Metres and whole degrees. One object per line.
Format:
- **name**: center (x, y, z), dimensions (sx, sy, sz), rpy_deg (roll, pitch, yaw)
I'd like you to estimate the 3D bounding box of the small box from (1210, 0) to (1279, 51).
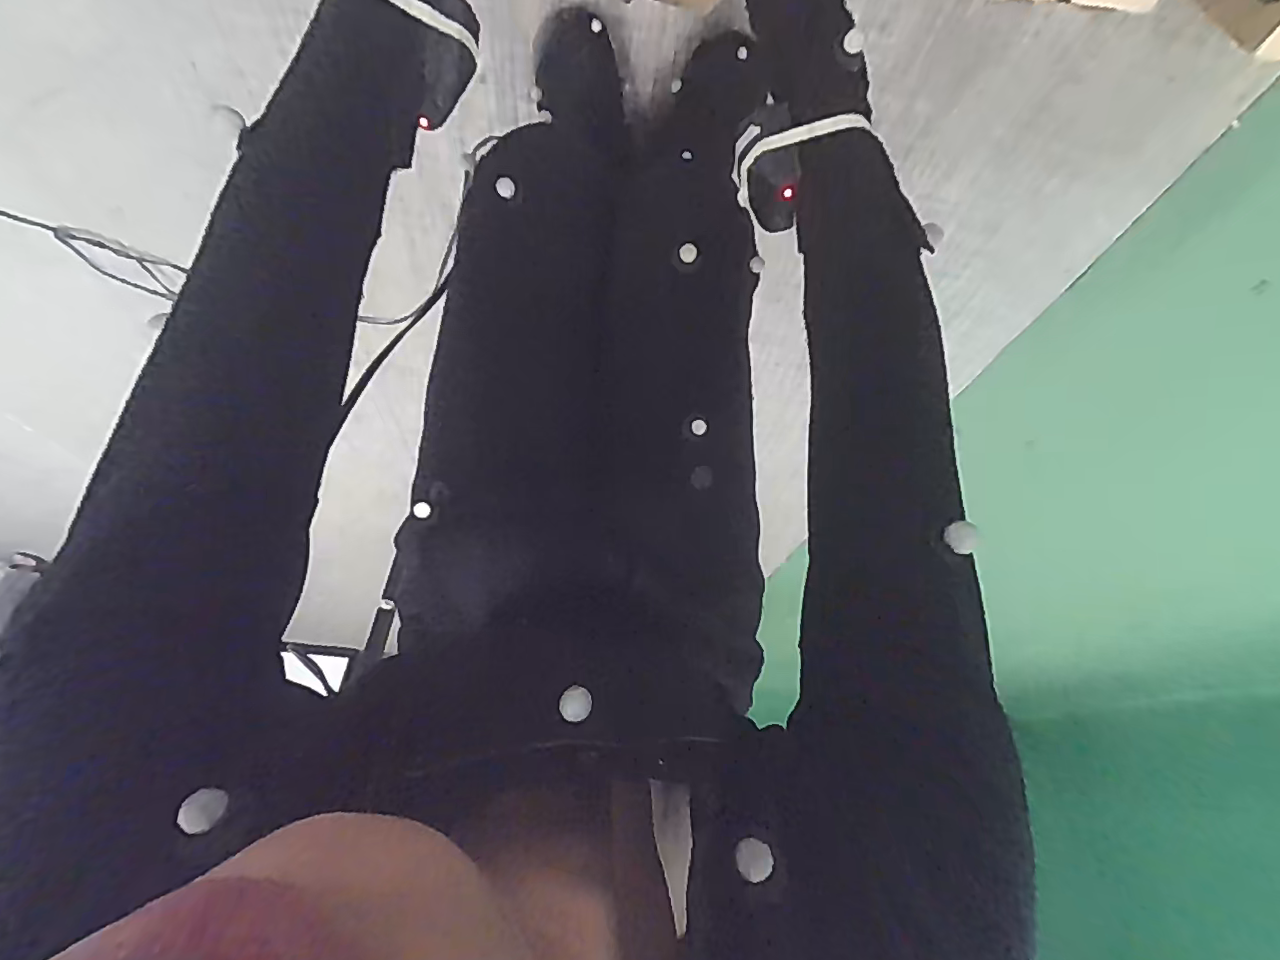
- **small box**: center (0.689, -0.526, 0.499), dimensions (0.168, 0.176, 0.179), rpy_deg (8, 150, -4)
